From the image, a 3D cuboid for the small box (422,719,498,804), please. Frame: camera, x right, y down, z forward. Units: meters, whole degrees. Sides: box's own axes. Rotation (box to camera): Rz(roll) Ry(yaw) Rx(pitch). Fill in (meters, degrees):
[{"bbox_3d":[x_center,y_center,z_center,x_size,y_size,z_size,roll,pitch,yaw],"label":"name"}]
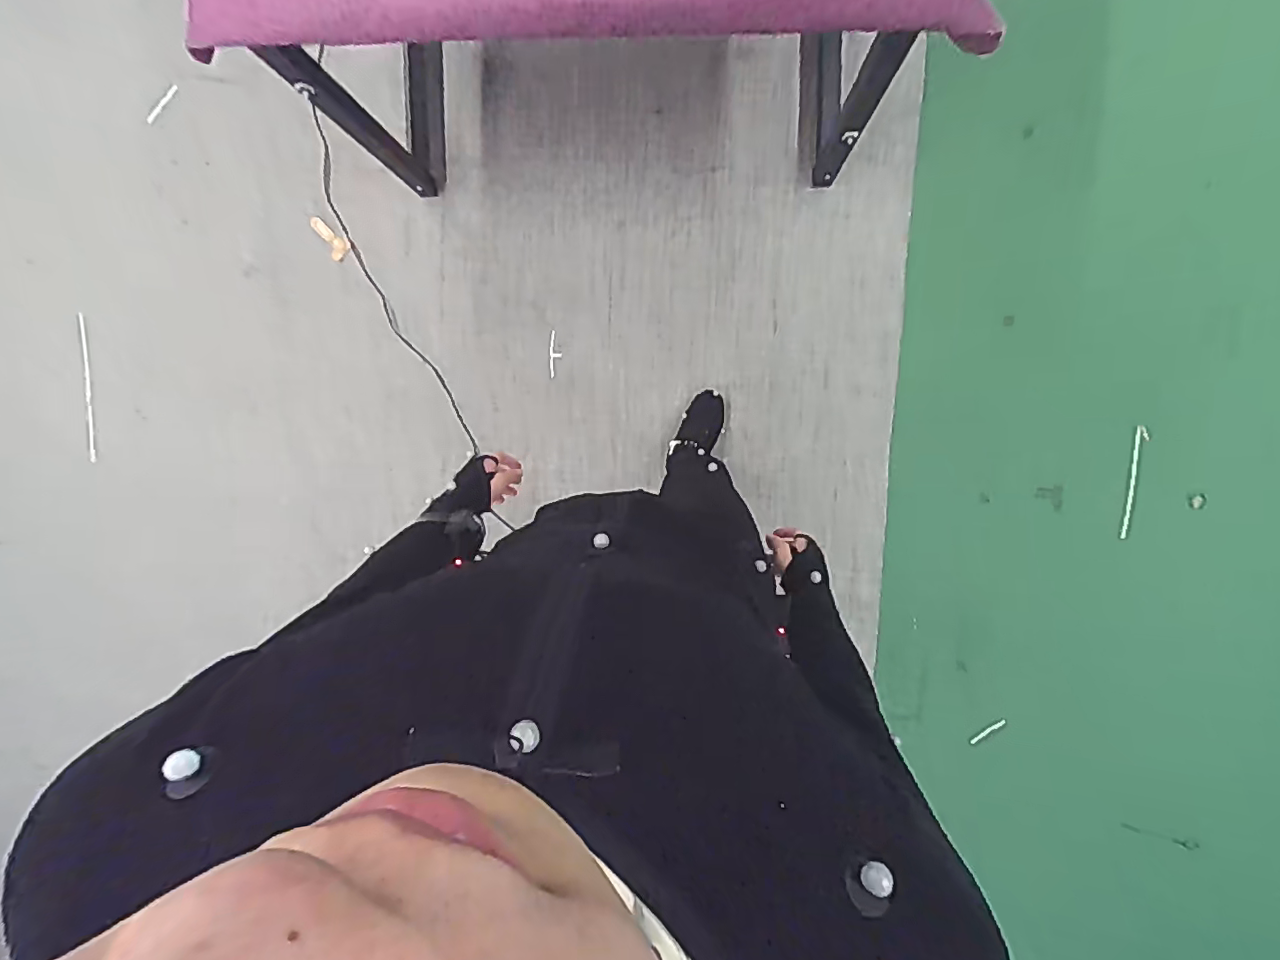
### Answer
[{"bbox_3d":[-0.542,0.854,1.651,0.179,0.176,0.168,2,96,5],"label":"small box"}]
